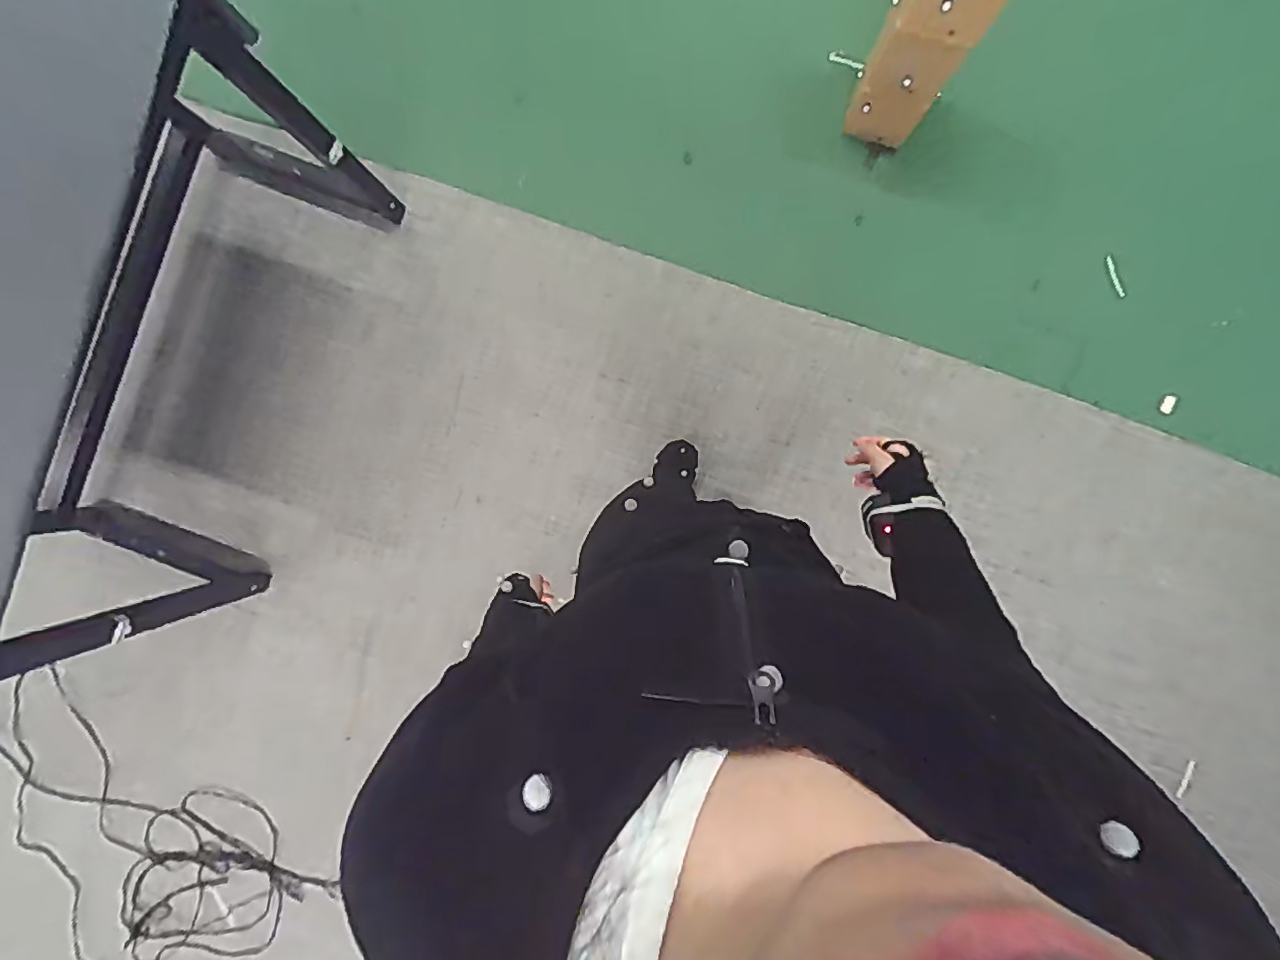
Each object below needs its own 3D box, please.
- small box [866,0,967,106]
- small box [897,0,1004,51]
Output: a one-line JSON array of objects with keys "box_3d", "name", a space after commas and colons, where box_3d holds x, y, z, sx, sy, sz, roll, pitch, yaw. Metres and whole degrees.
[{"box_3d": [0.634, -0.998, 1.215, 0.168, 0.176, 0.179, 17, 91, 2], "name": "small box"}, {"box_3d": [0.629, -0.992, 1.053, 0.168, 0.176, 0.179, 14, 91, 2], "name": "small box"}]
